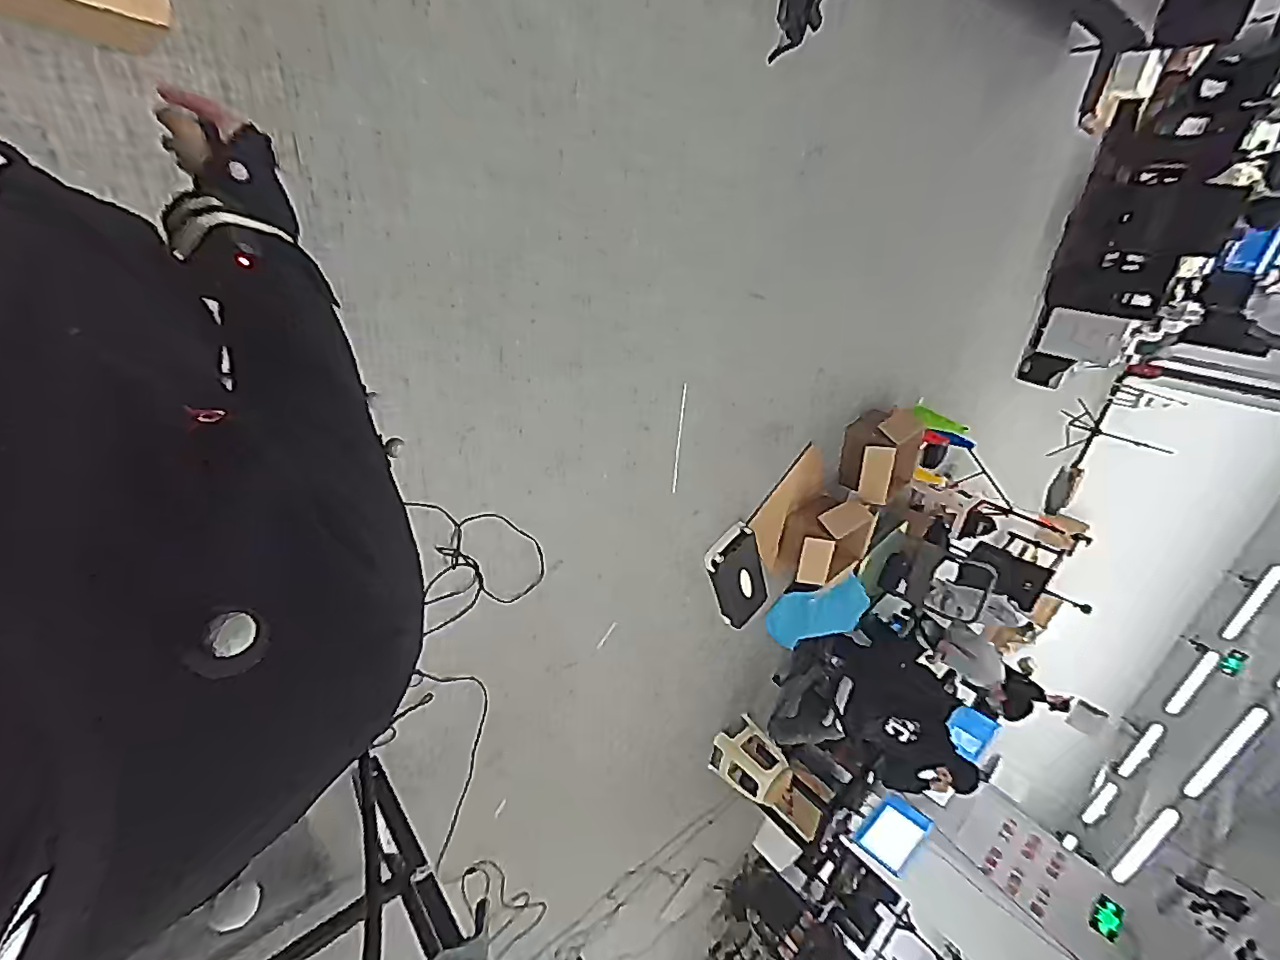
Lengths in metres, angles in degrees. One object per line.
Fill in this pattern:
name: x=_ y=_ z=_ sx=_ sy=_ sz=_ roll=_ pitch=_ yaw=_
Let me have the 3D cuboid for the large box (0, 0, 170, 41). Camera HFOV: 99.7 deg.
large box: x=-0.824 y=-0.749 z=0.591 sx=0.408 sy=0.320 sz=0.320 roll=-14 pitch=124 yaw=-42
